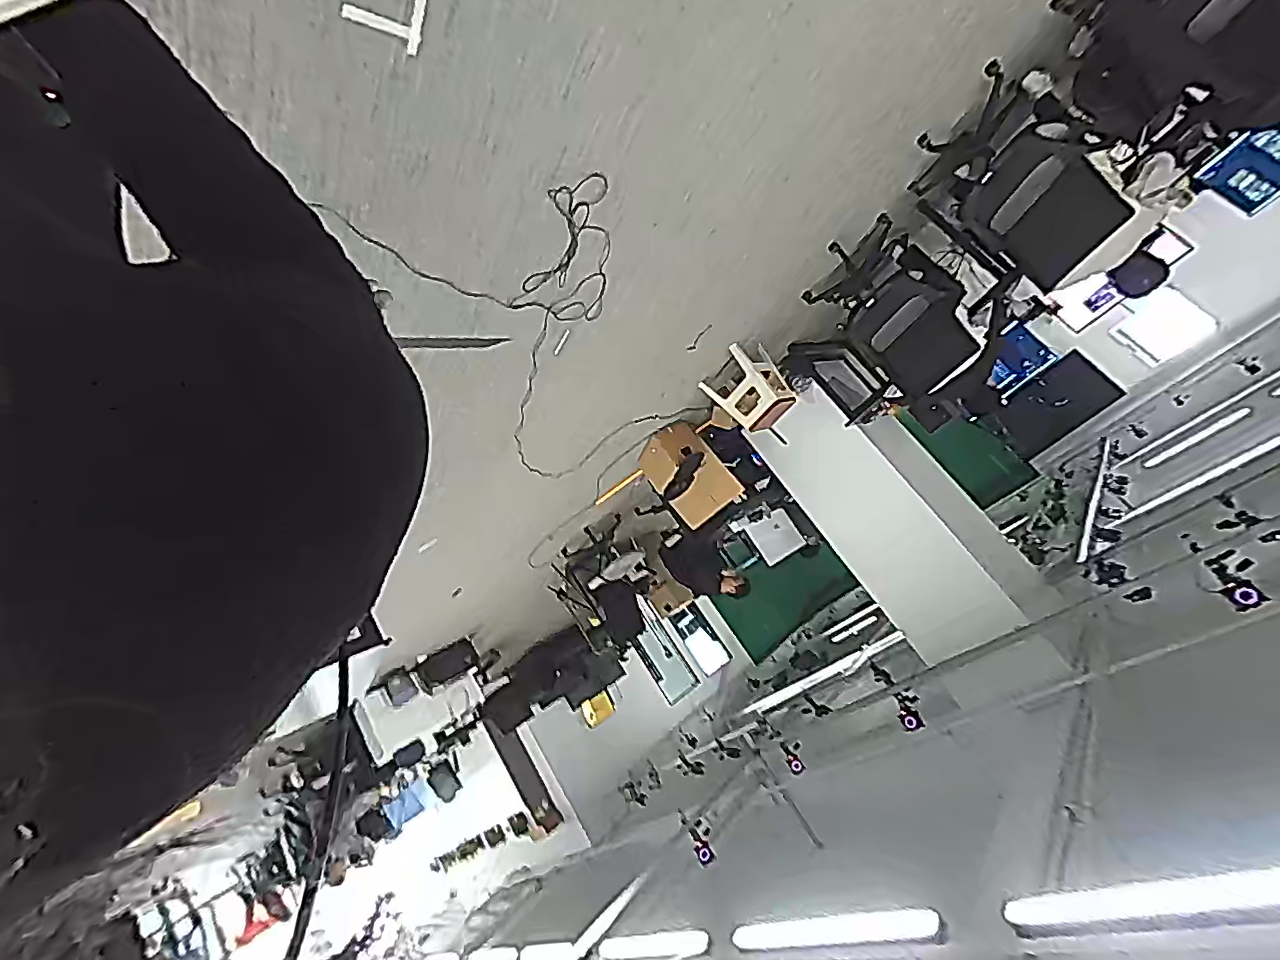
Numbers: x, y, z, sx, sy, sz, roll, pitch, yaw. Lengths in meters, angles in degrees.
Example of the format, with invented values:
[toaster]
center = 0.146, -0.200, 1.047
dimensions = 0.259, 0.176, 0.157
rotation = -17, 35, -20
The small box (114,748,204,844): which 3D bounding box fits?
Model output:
[small box]
center = -1.419, 0.926, 1.596
dimensions = 0.168, 0.176, 0.179
rotation = -16, 154, -47
